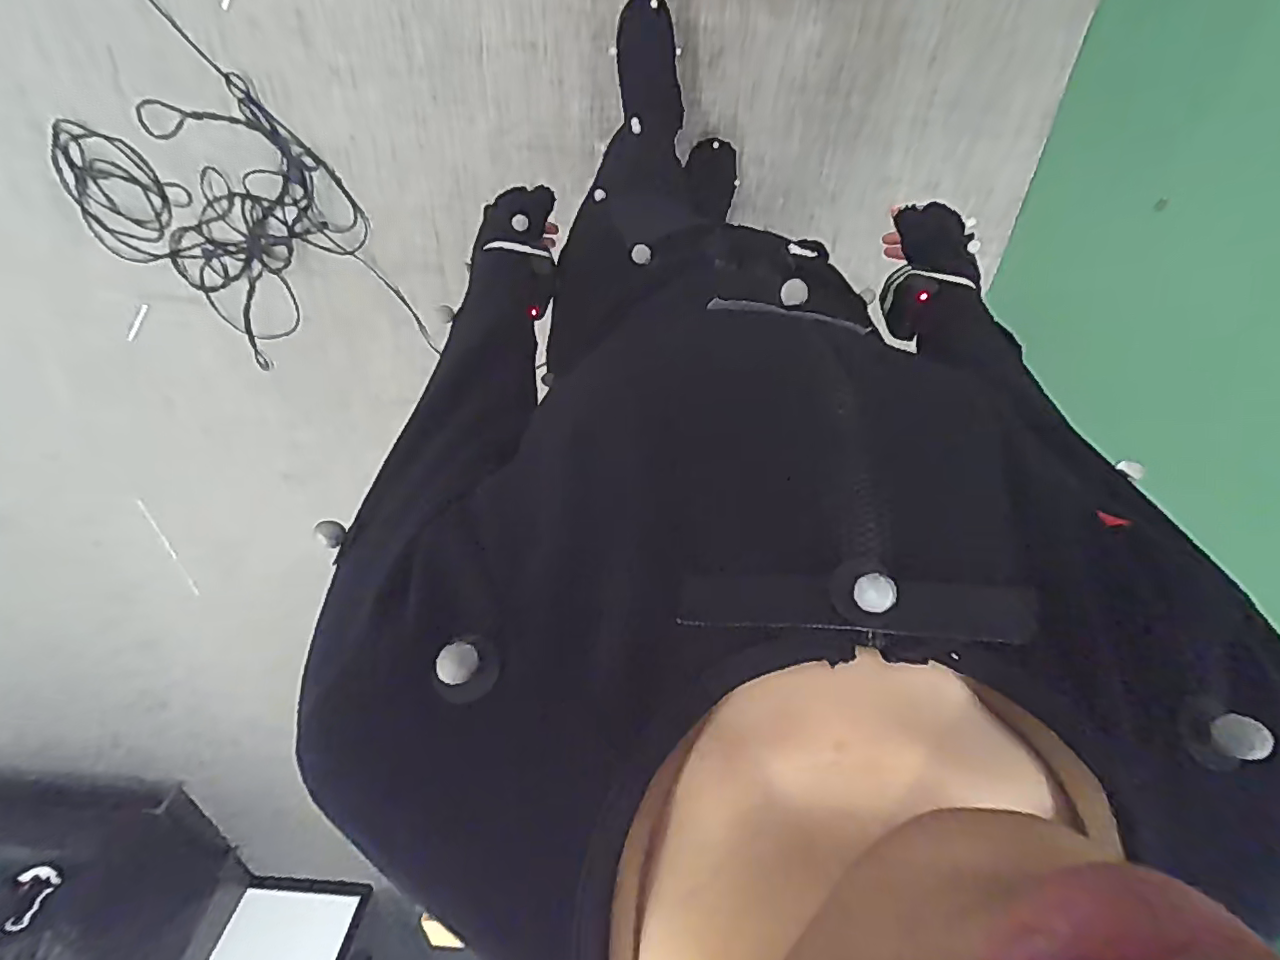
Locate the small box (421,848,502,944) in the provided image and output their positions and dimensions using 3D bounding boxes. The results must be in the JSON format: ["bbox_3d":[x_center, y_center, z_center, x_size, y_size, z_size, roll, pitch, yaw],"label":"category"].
[{"bbox_3d":[-0.504,1.194,1.555,0.168,0.176,0.179,4,124,1],"label":"small box"}]
